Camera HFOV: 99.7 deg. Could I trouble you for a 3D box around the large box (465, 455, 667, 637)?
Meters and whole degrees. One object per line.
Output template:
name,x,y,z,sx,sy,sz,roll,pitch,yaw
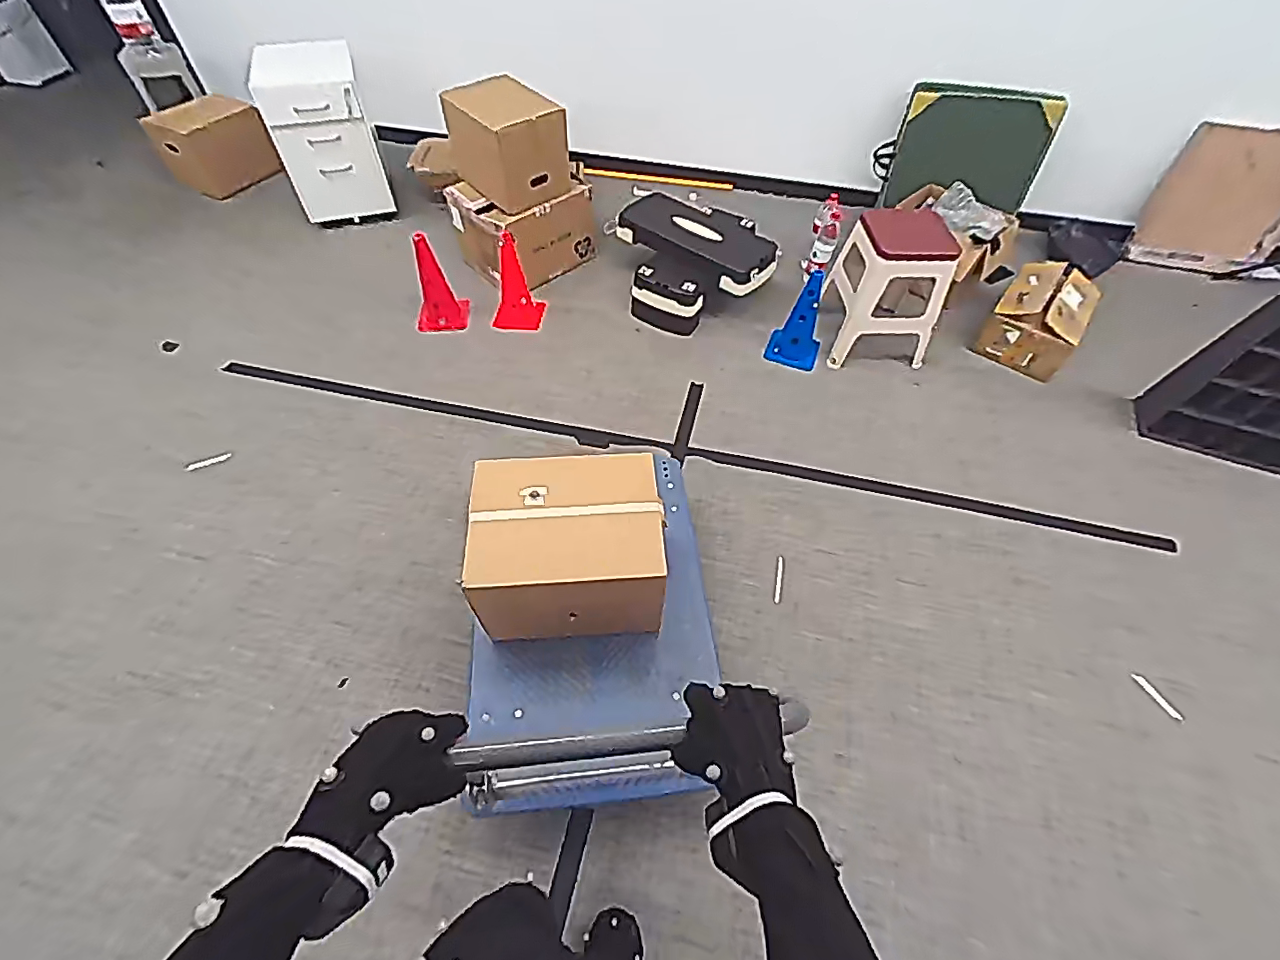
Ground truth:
large box,-0.156,0.162,1.269,0.408,0.320,0.320,-3,55,-3
